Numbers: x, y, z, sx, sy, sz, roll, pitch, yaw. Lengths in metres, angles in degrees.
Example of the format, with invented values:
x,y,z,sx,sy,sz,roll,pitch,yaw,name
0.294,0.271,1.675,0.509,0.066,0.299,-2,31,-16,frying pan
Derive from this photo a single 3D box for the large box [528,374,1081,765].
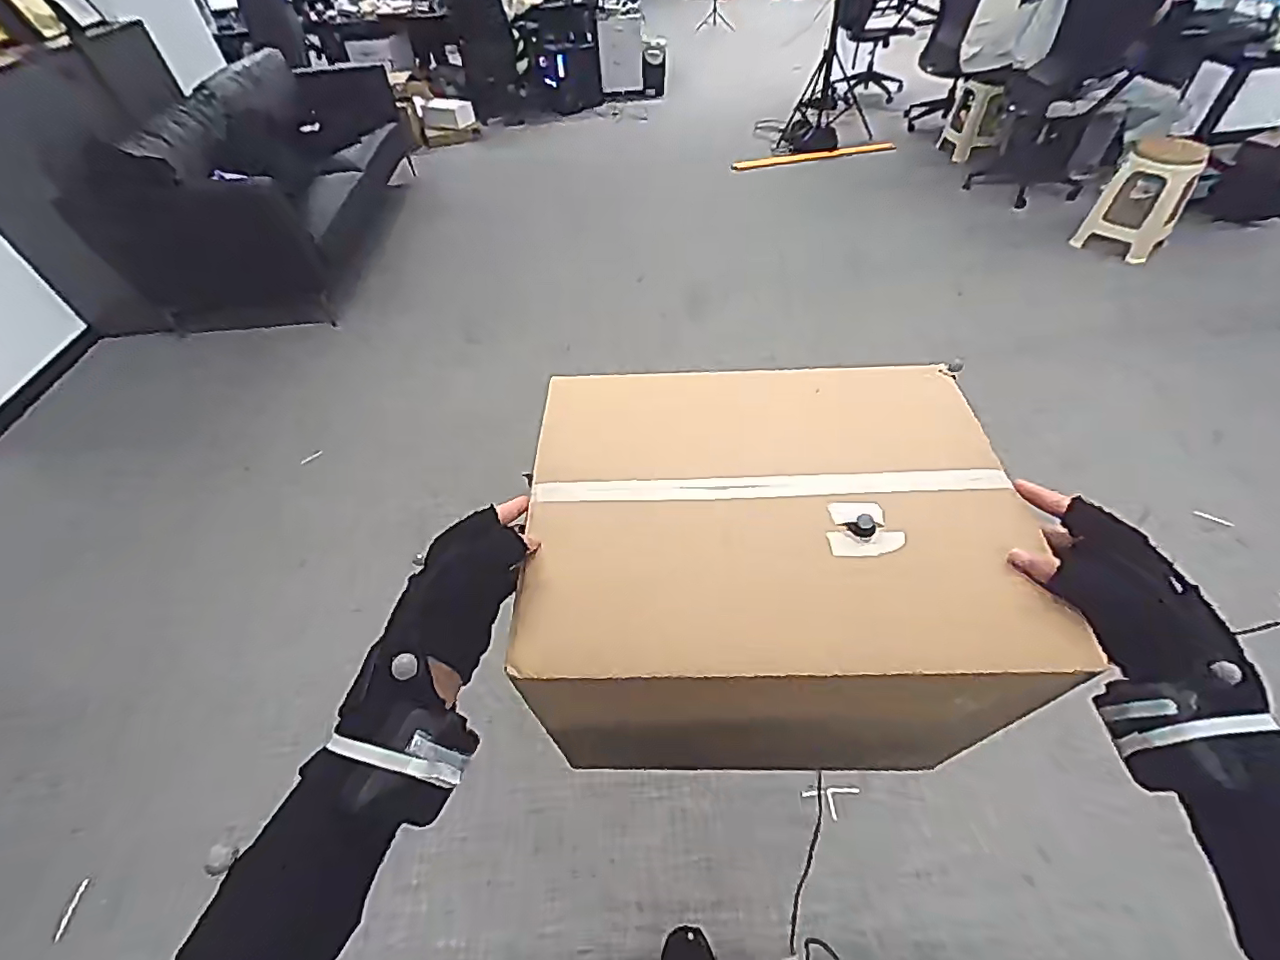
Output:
x,y,z,sx,sy,sz,roll,pitch,yaw,name
0.117,0.106,0.591,0.408,0.320,0.320,-1,52,1,large box
